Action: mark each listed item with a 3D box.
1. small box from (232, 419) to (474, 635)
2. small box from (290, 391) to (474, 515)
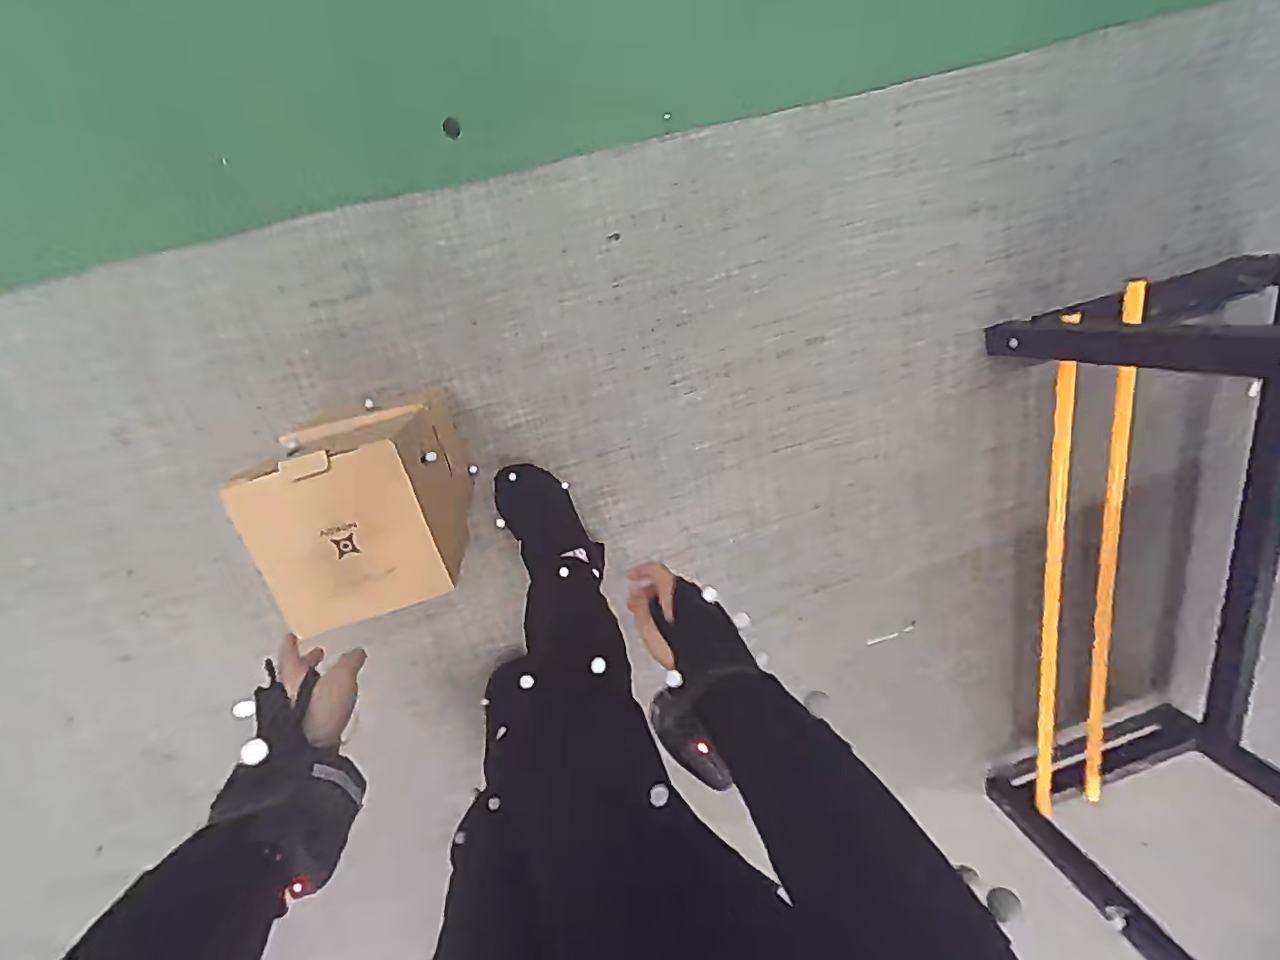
[{"bbox_3d":[-0.302,0.037,0.617,0.168,0.176,0.179,-18,110,-5],"label":"small box"},{"bbox_3d":[-0.342,-0.021,0.764,0.179,0.176,0.168,-15,109,-6],"label":"small box"}]
